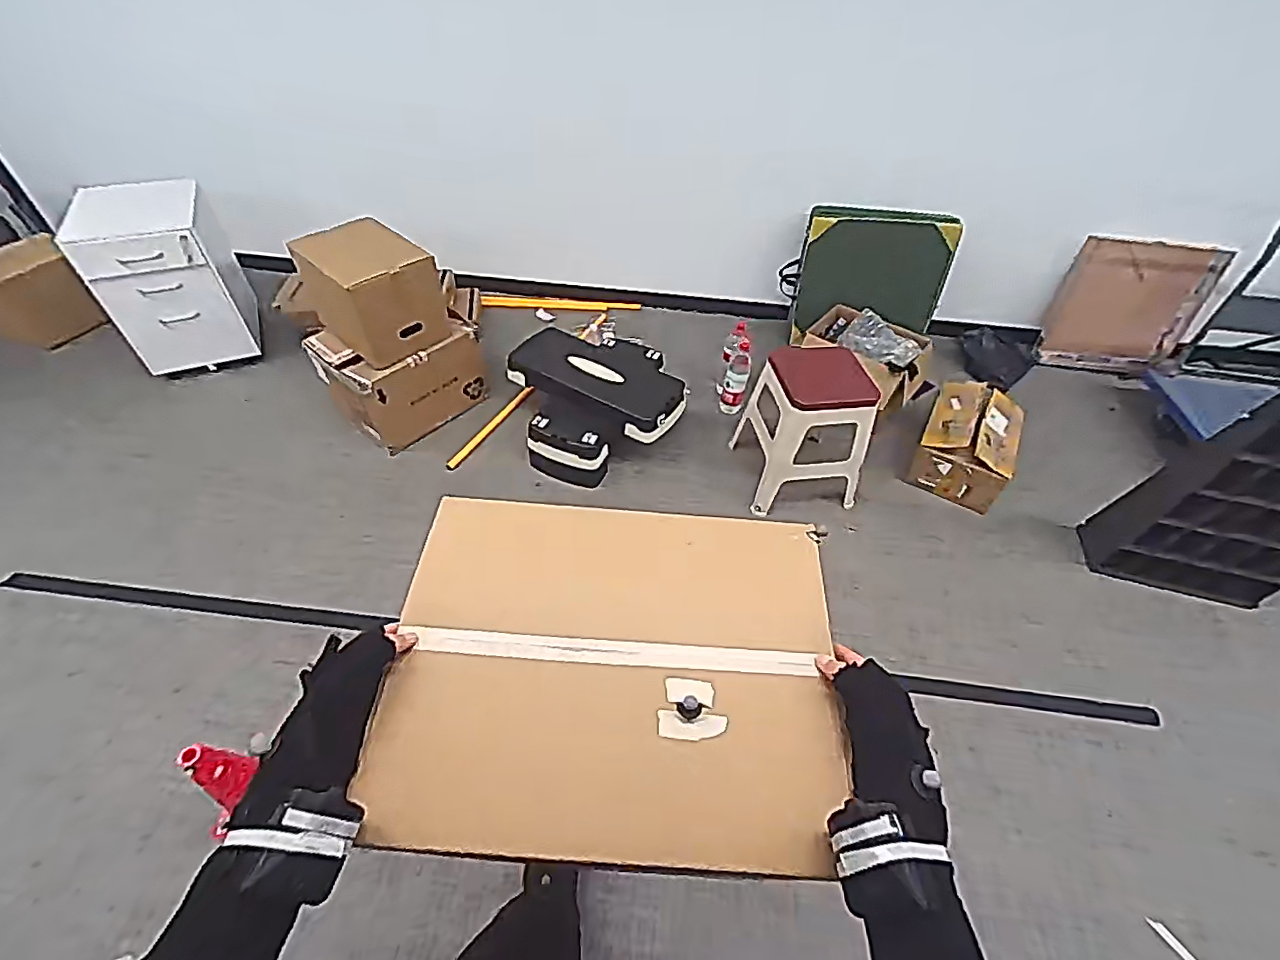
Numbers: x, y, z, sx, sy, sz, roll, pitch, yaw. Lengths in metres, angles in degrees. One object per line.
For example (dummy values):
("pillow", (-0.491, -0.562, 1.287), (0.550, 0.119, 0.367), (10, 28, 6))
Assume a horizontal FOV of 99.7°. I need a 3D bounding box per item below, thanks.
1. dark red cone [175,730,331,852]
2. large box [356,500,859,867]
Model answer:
("dark red cone", (-0.836, 0.607, 1.120), (0.201, 0.394, 0.202), (12, 48, 6))
("large box", (-0.028, 0.246, 0.627), (0.408, 0.320, 0.320), (5, 54, -1))
